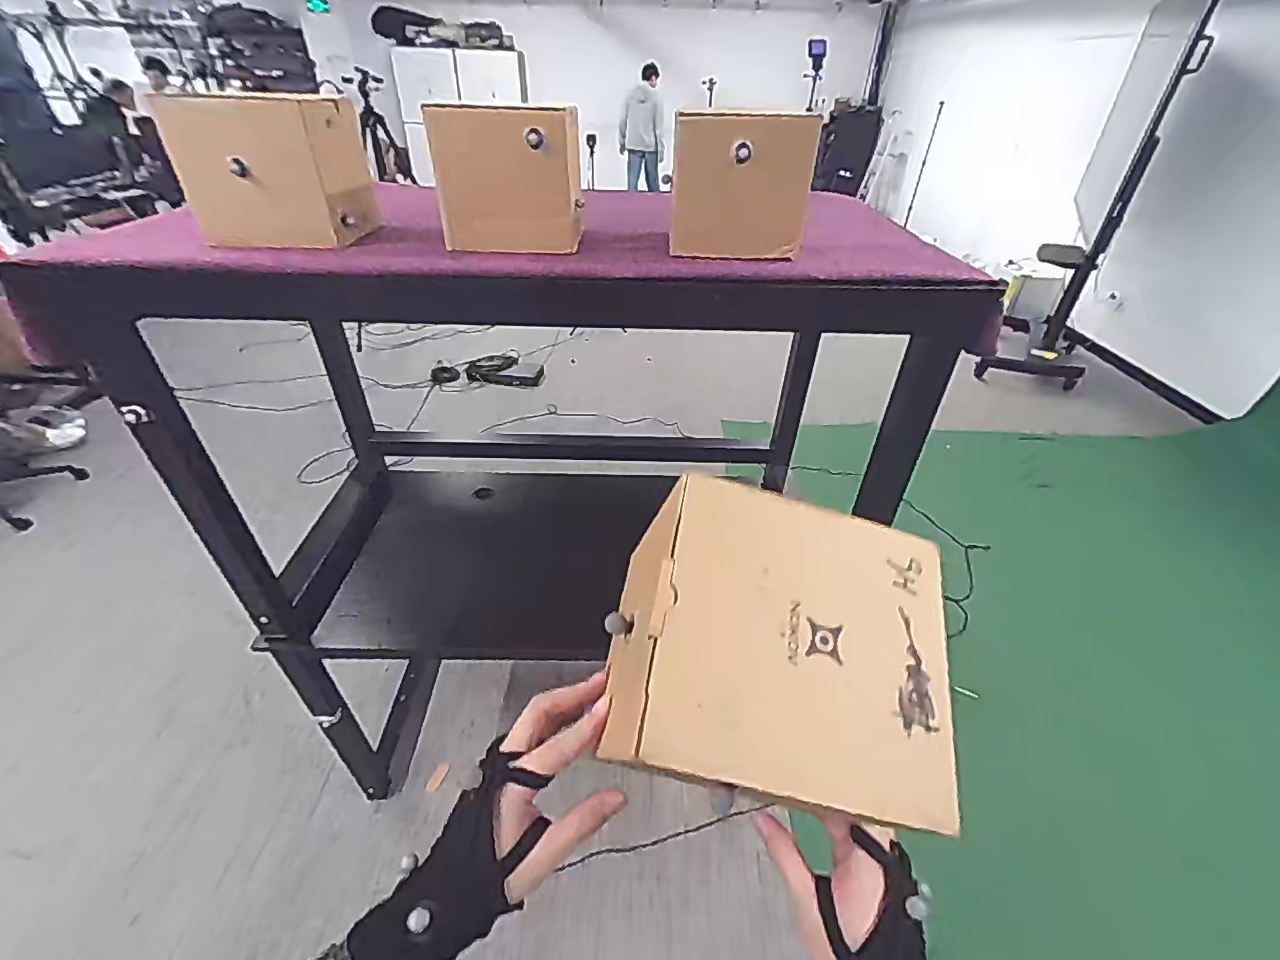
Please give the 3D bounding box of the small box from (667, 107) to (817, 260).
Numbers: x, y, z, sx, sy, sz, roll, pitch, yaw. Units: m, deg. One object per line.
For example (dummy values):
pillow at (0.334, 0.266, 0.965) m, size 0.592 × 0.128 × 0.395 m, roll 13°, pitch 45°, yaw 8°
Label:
small box at (0.127, -0.411, 0.748) m, size 0.179 × 0.176 × 0.168 m, roll 2°, pitch 37°, yaw 2°

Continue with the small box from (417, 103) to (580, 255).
small box at (-0.180, -0.418, 0.749) m, size 0.179 × 0.176 × 0.168 m, roll 1°, pitch 36°, yaw -2°

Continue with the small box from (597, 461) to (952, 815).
small box at (0.076, 0.114, 0.375) m, size 0.179 × 0.176 × 0.168 m, roll 16°, pitch 63°, yaw -5°

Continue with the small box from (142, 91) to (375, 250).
small box at (-0.489, -0.419, 0.733) m, size 0.179 × 0.176 × 0.168 m, roll -1°, pitch 36°, yaw -3°
